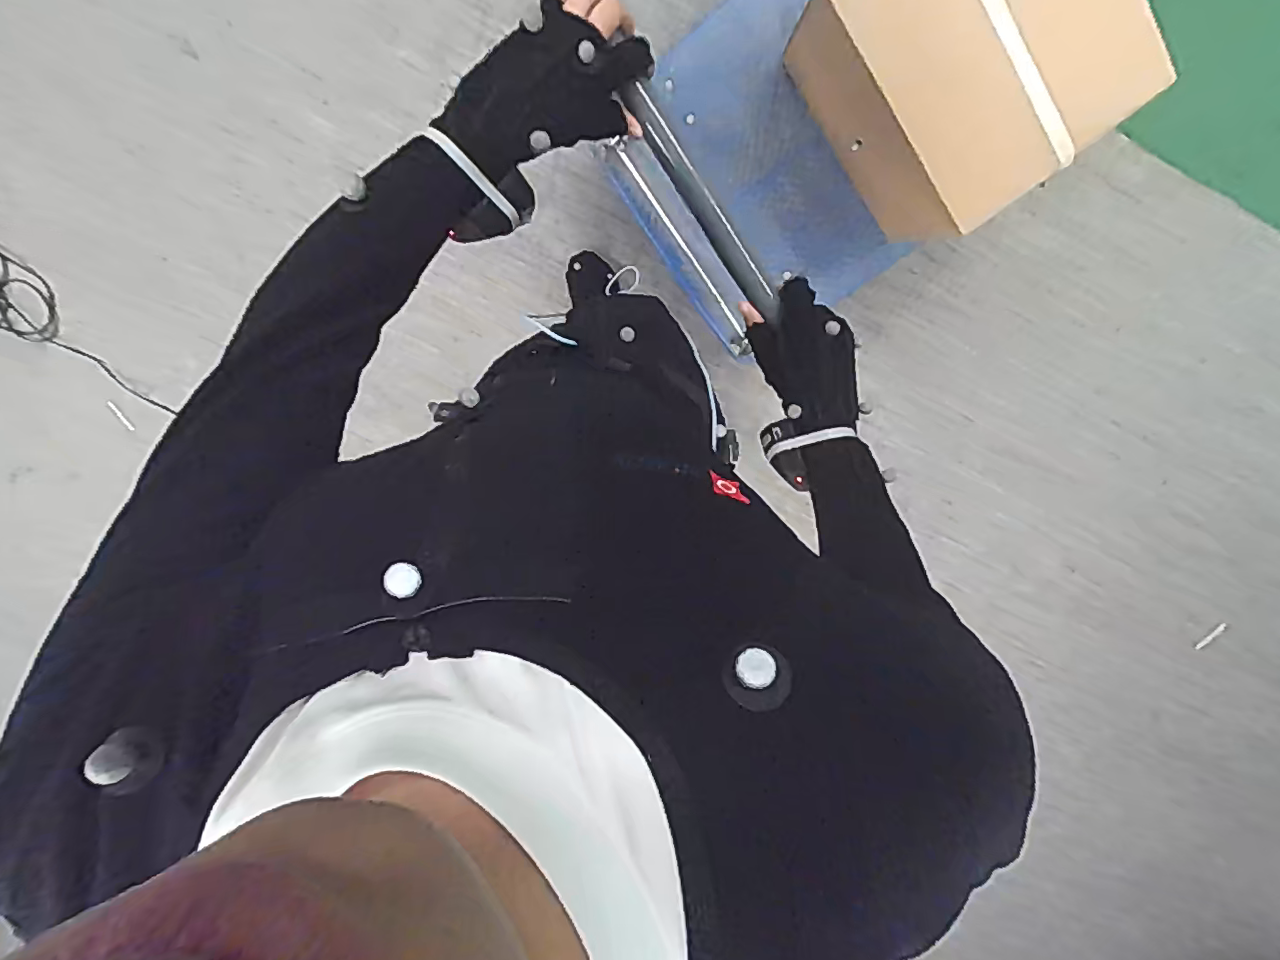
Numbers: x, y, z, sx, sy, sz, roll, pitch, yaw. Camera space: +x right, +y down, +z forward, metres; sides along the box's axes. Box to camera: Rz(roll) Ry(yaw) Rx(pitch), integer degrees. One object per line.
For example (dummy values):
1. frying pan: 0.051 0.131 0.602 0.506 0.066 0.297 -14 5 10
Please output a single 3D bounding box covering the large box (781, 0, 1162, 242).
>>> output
1. large box: 0.484 -0.653 0.869 0.320 0.320 0.408 -36 105 16
